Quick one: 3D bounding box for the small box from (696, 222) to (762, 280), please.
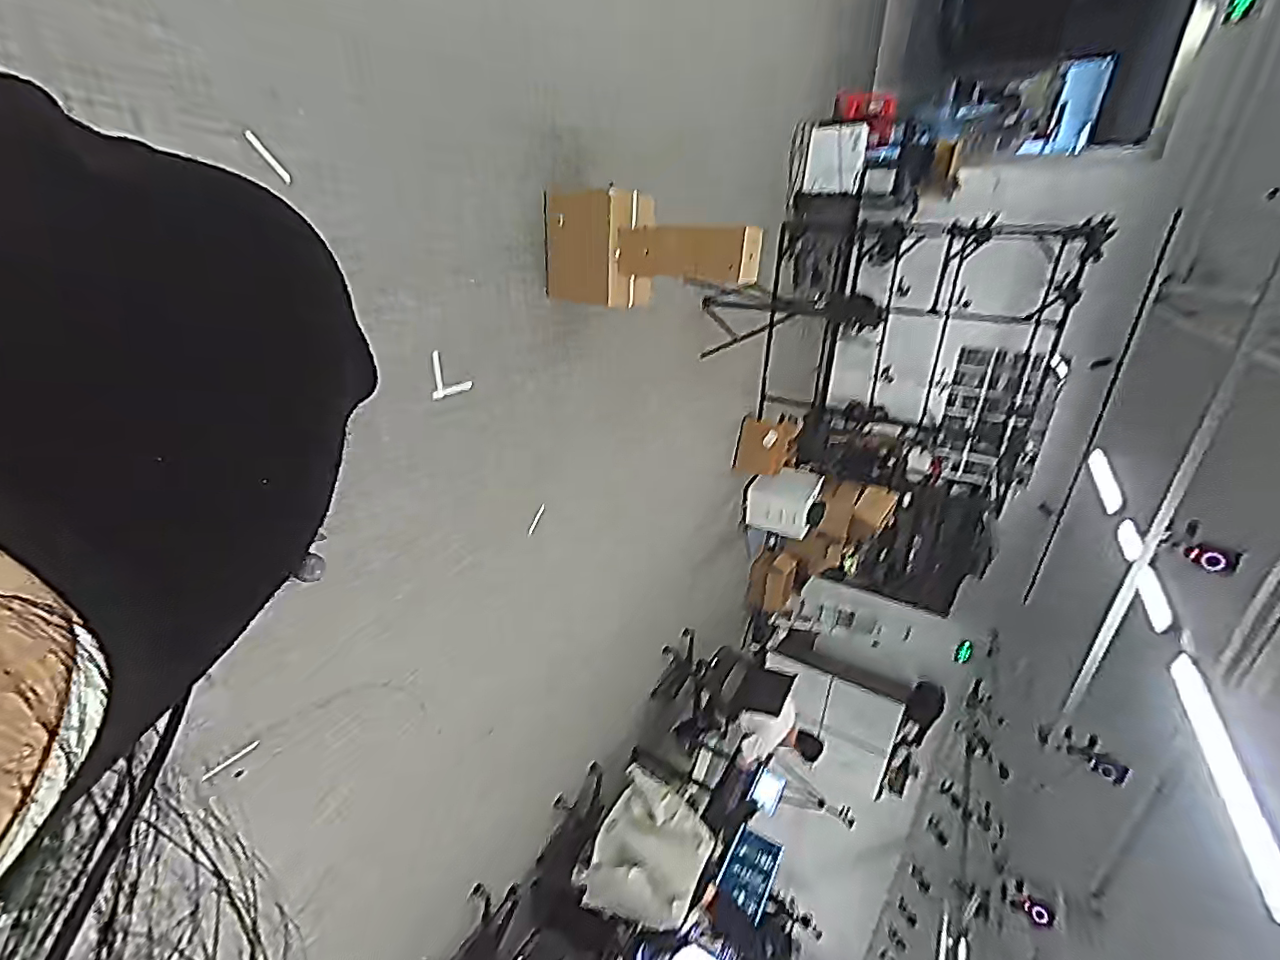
[{"bbox_3d":[0.306,-0.799,1.891,0.168,0.176,0.179,-28,127,-53],"label":"small box"}]

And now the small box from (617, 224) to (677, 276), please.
[{"bbox_3d":[0.026,-0.873,2.047,0.168,0.176,0.179,-32,131,-50],"label":"small box"}]
